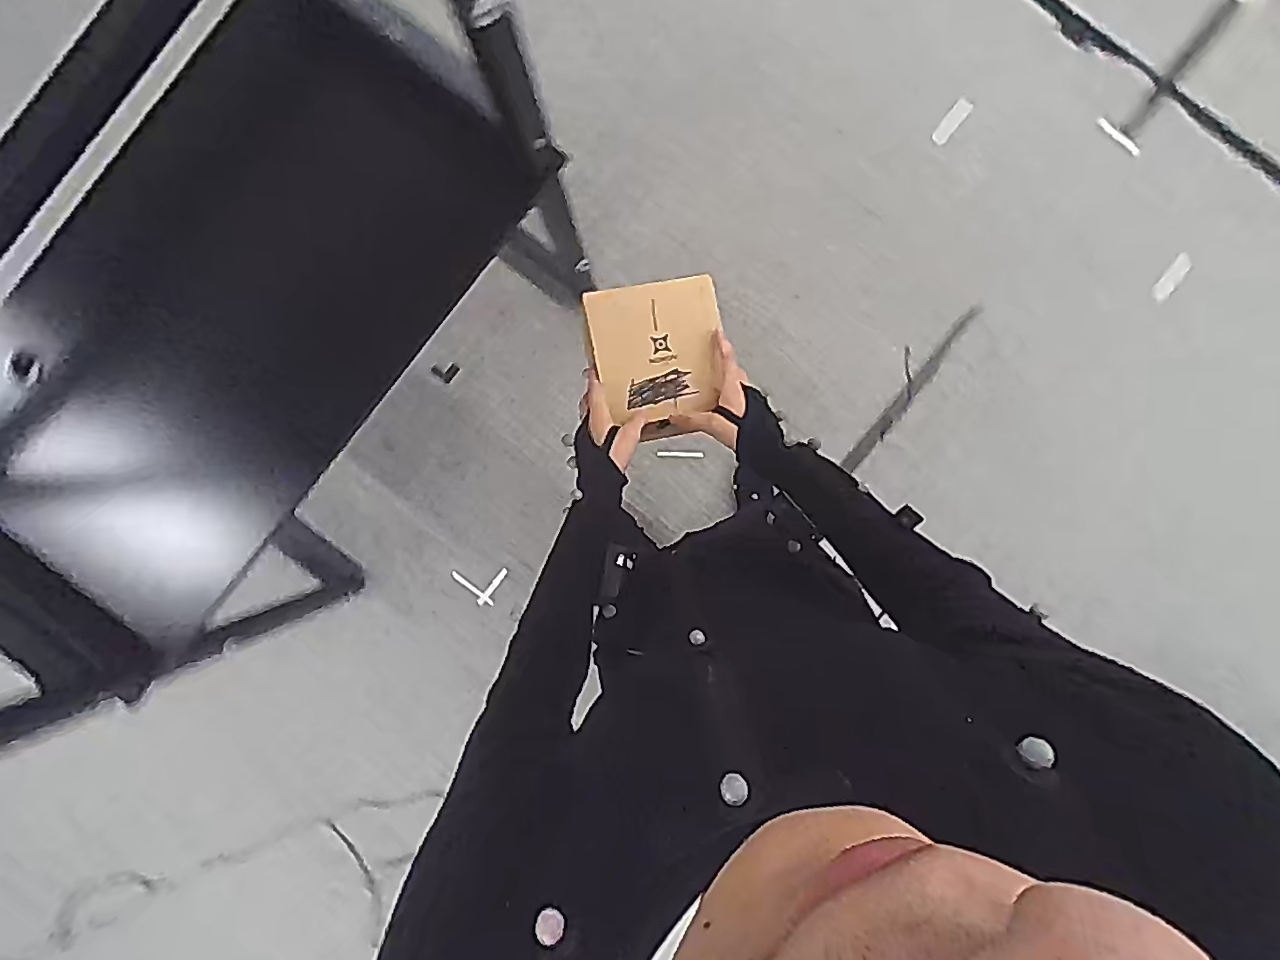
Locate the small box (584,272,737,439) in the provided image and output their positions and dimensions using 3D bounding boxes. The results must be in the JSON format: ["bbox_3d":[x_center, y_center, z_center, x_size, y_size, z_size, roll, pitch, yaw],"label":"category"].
[{"bbox_3d":[0.020,-0.156,0.739,0.168,0.176,0.179,-10,87,-6],"label":"small box"}]
